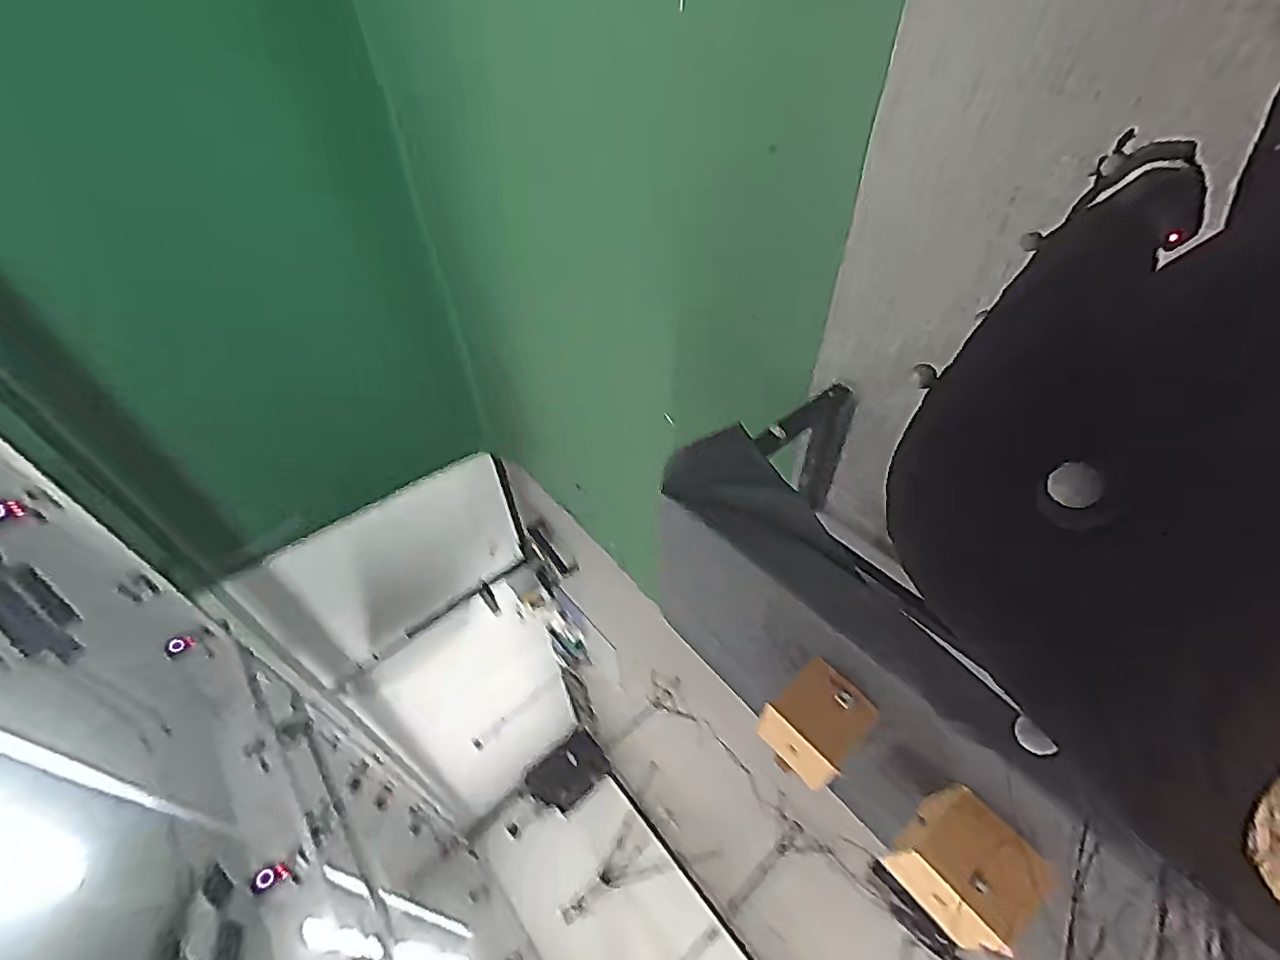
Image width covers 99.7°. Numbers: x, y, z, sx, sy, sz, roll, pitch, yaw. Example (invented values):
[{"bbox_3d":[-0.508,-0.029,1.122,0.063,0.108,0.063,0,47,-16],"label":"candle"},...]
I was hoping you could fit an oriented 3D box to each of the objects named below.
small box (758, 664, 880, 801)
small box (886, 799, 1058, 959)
[{"bbox_3d":[0.377,0.530,1.144,0.168,0.176,0.179,38,147,32],"label":"small box"},{"bbox_3d":[0.591,0.709,0.973,0.179,0.176,0.168,42,149,28],"label":"small box"}]
